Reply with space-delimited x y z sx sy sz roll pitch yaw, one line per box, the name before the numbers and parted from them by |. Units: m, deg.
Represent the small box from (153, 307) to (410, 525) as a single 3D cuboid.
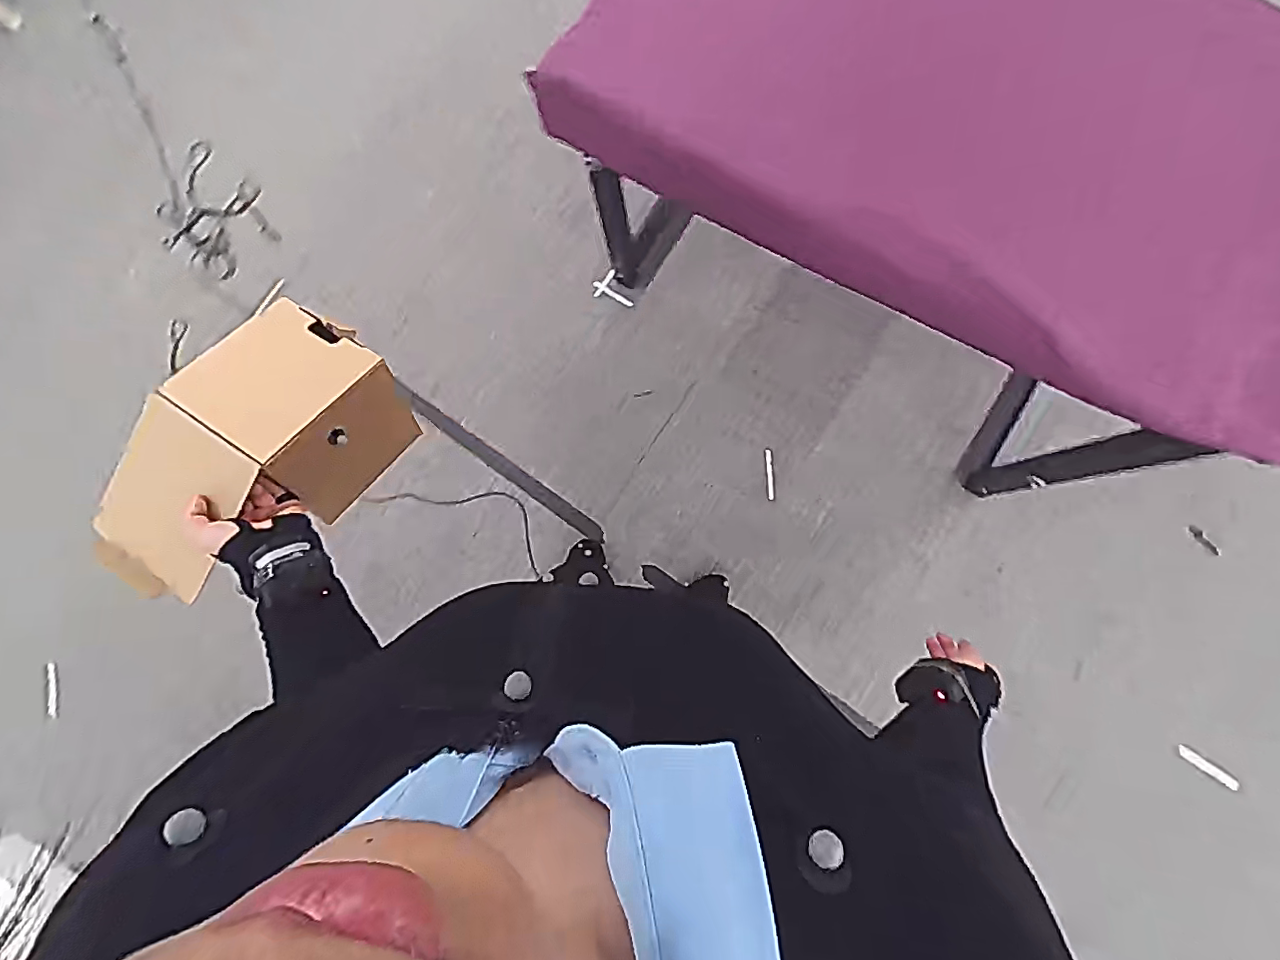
small box | -0.424 -0.071 0.679 0.168 0.176 0.179 30 65 10
